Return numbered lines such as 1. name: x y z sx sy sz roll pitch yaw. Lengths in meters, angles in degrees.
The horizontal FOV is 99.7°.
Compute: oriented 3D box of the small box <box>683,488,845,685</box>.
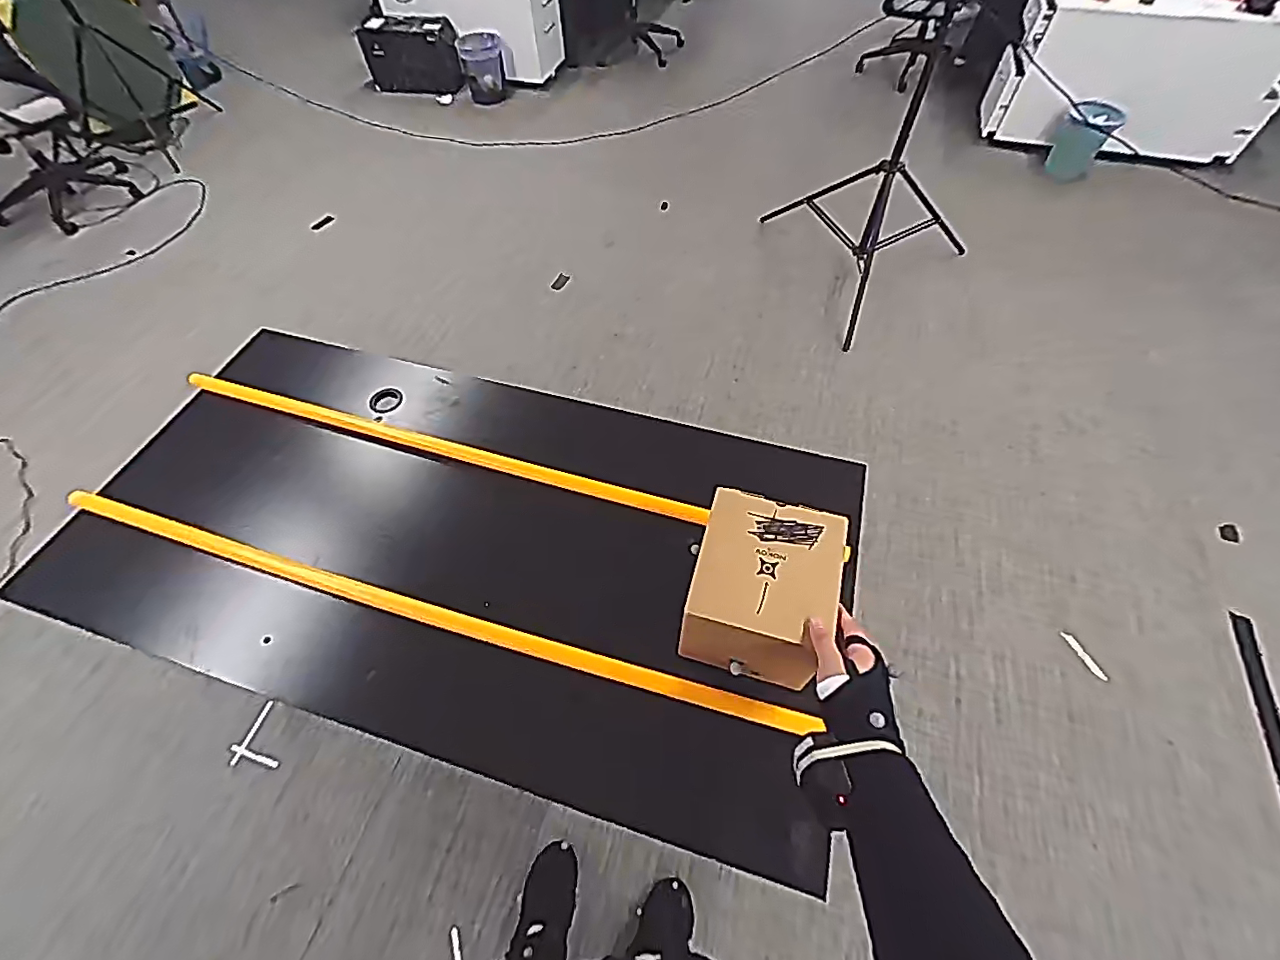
1. small box: 0.154 0.141 0.704 0.168 0.176 0.179 13 58 11
